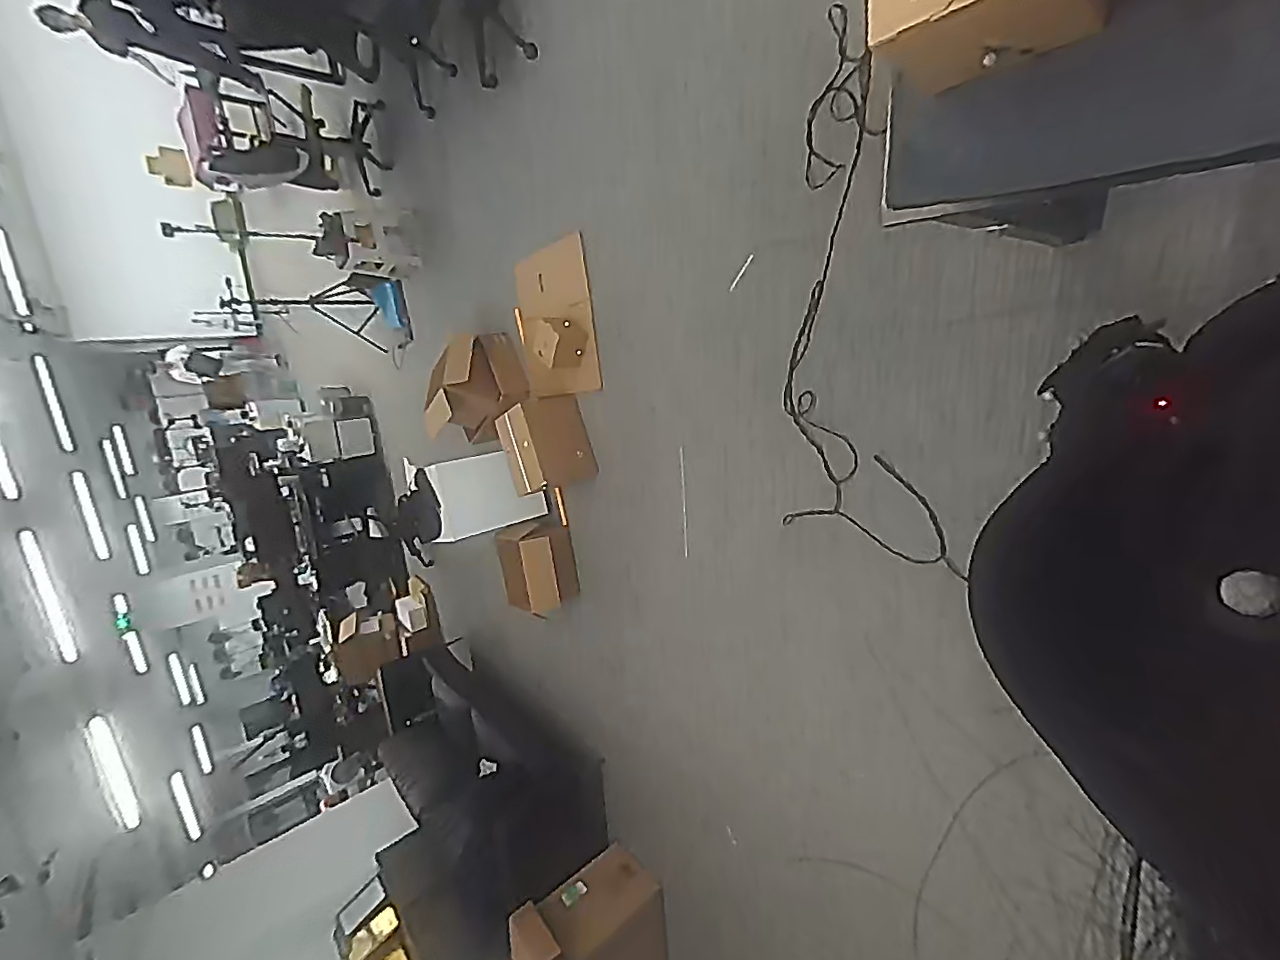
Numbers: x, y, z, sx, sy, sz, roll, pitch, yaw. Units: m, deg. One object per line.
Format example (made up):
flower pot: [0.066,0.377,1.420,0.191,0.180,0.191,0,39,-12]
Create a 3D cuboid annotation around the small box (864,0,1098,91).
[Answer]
small box: [0.341,-0.530,0.531,0.168,0.176,0.179,10,108,47]
